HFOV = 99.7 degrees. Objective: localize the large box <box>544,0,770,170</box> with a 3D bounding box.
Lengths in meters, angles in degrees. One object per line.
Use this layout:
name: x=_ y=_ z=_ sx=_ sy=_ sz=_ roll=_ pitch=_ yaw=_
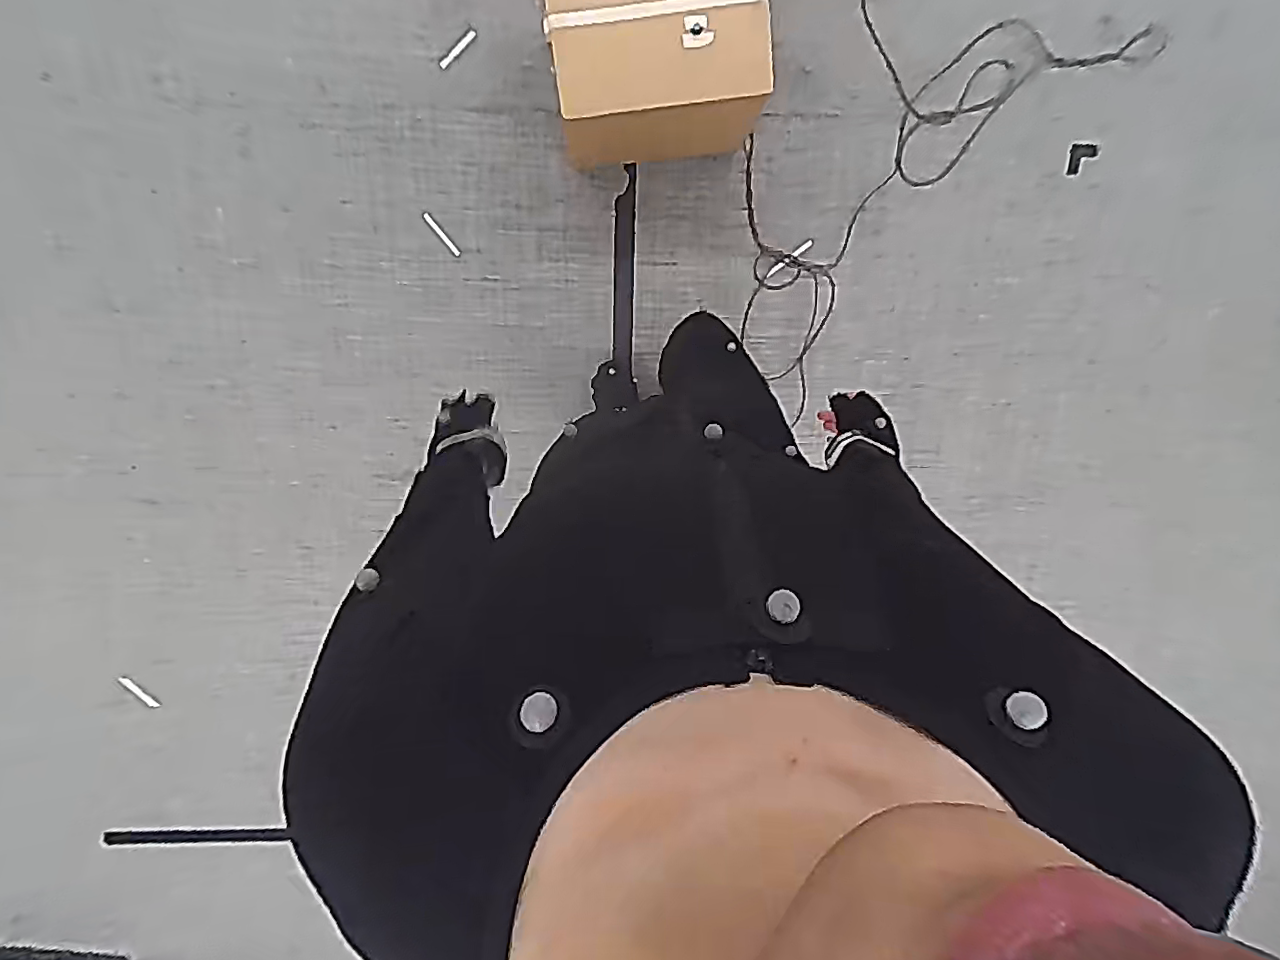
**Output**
large box: x=0.022 y=-0.887 z=1.129 sx=0.408 sy=0.320 sz=0.320 roll=-8 pitch=104 yaw=-1
